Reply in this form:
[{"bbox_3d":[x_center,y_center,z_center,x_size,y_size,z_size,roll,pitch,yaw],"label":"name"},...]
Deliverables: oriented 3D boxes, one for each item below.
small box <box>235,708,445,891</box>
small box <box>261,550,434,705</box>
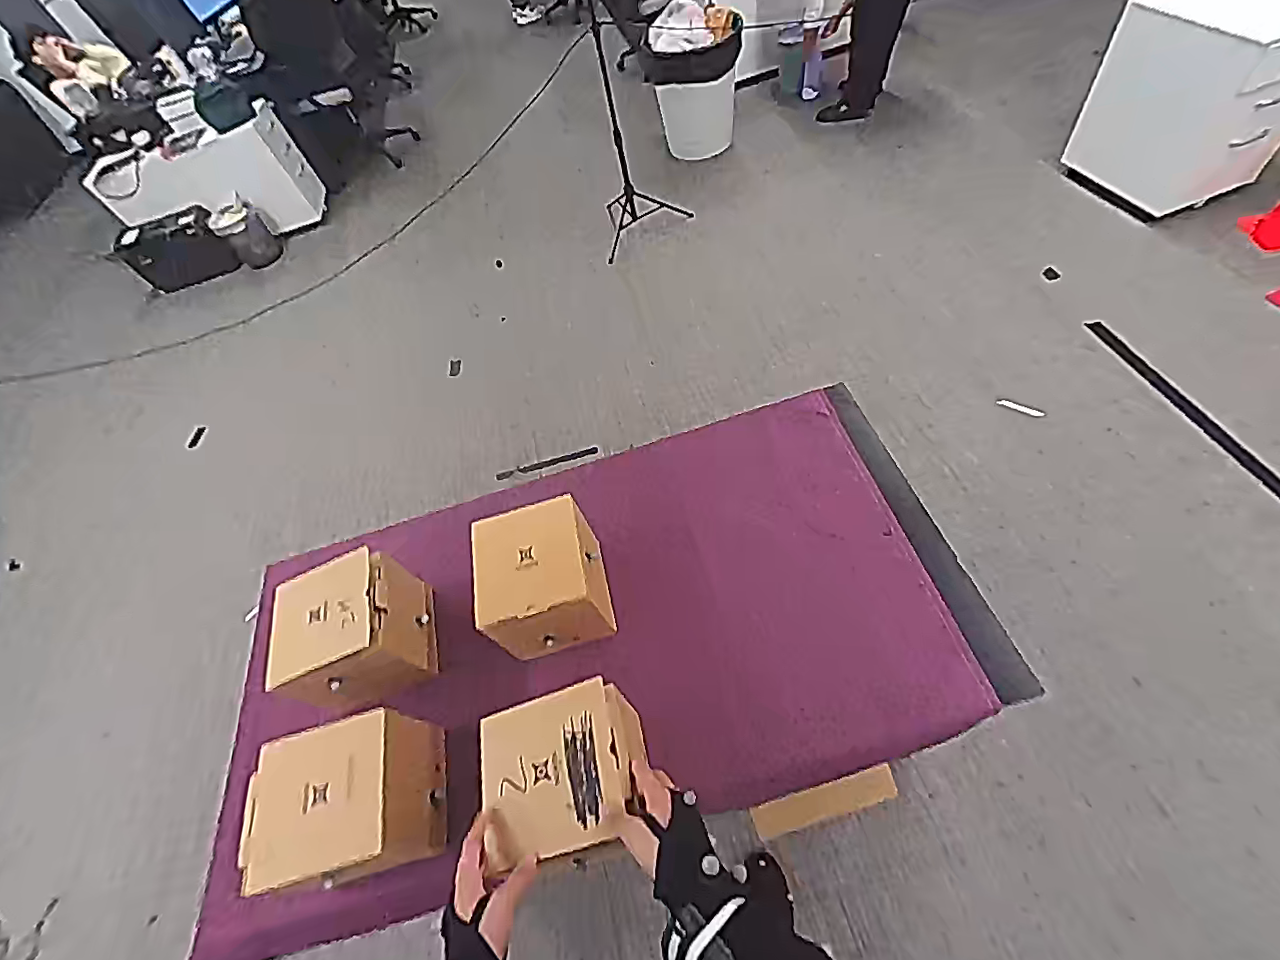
[{"bbox_3d":[-0.385,0.429,0.728,0.179,0.176,0.168,-17,56,1],"label":"small box"},{"bbox_3d":[-0.454,0.242,0.865,0.179,0.176,0.168,-19,56,0],"label":"small box"}]
